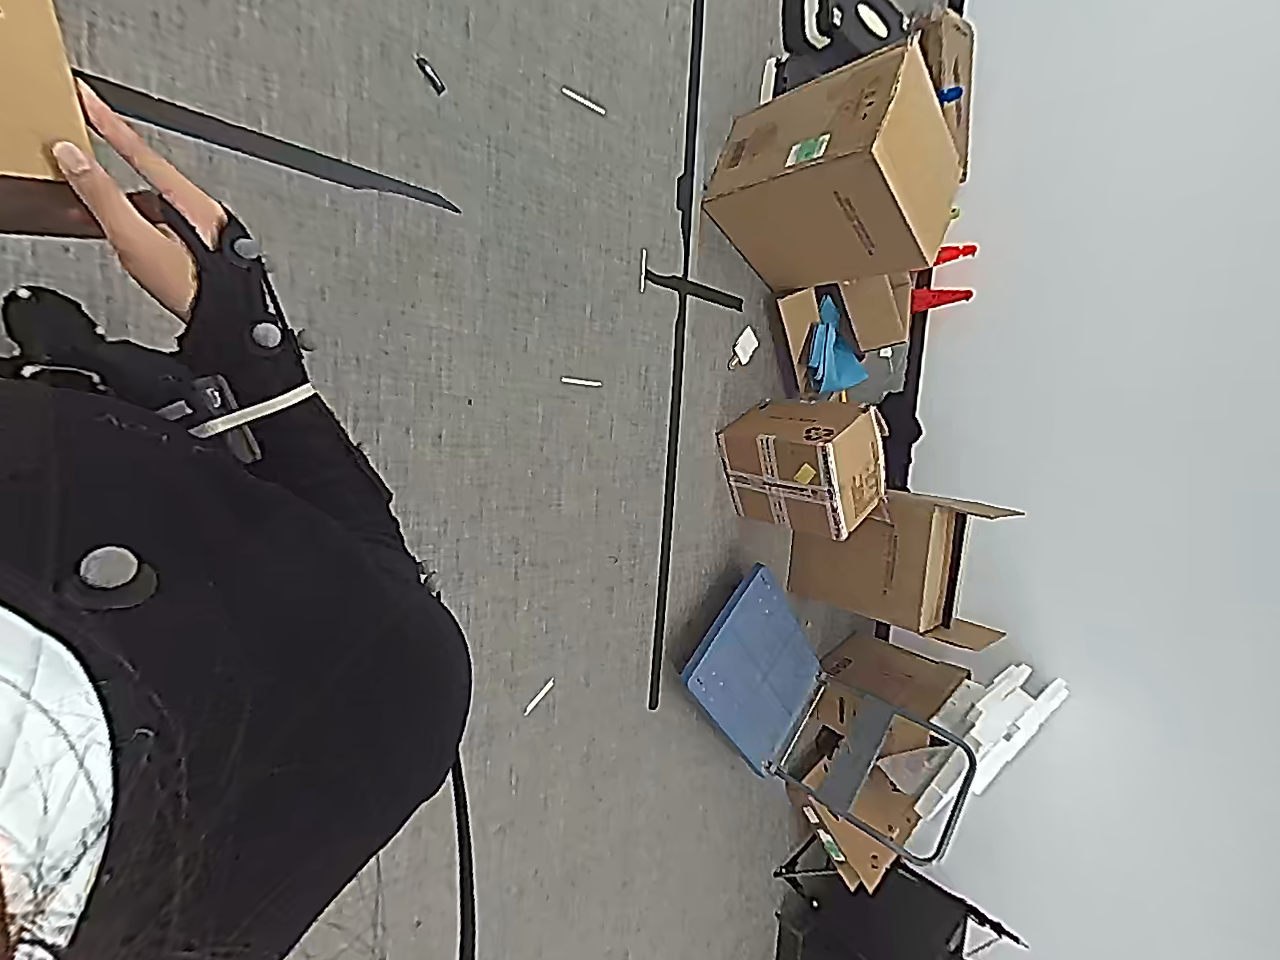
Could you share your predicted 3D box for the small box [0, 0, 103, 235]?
[{"bbox_3d":[-0.434,-0.242,0.295,0.179,0.176,0.168,-16,109,-42],"label":"small box"}]
